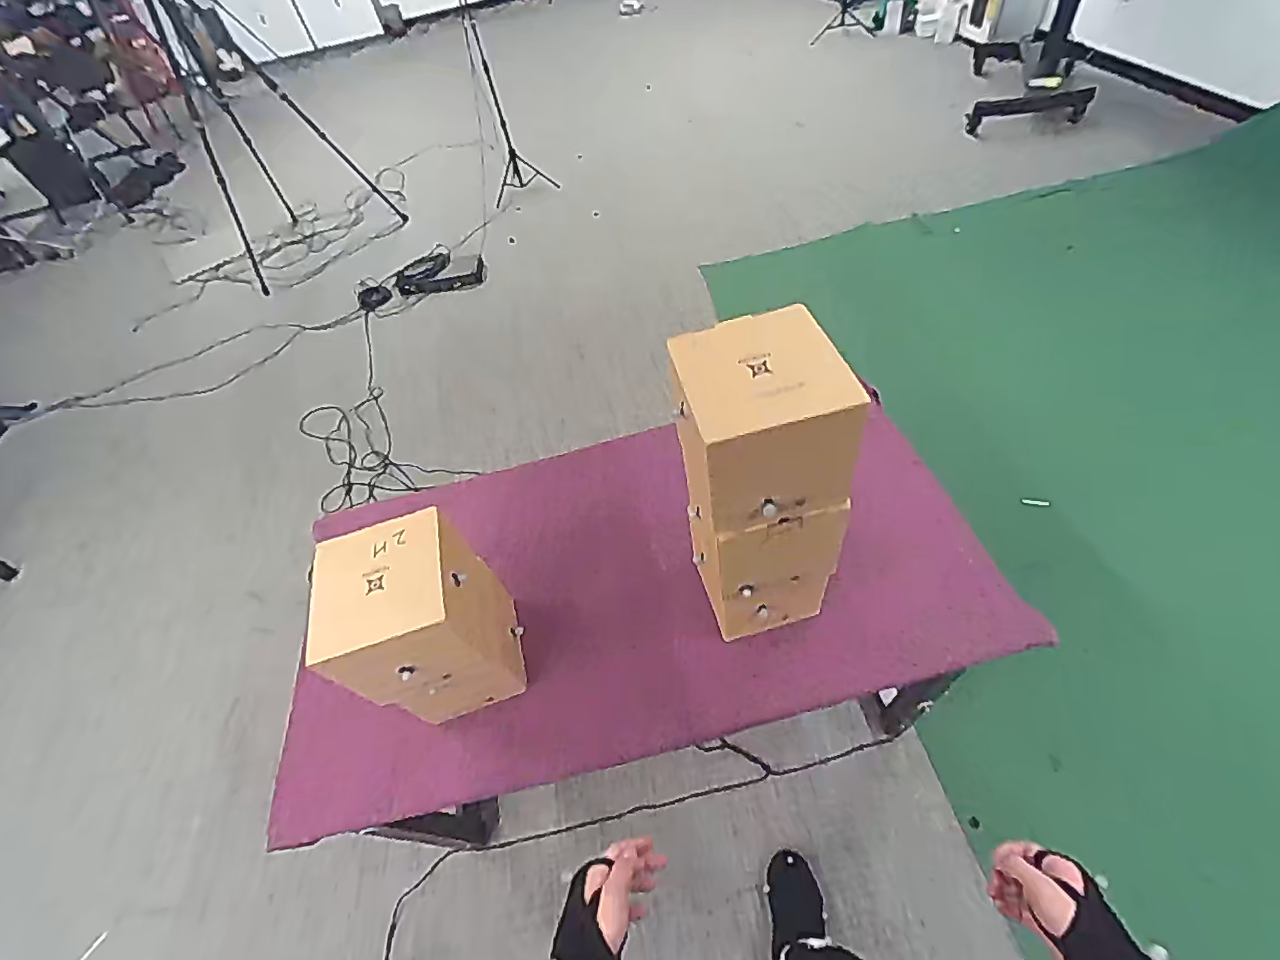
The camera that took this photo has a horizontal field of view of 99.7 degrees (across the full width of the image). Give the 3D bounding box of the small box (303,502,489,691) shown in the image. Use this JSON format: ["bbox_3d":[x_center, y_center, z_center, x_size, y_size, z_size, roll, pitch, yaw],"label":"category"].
[{"bbox_3d":[-0.311,0.163,0.722,0.168,0.176,0.179,-17,52,-4],"label":"small box"}]

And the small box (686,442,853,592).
[{"bbox_3d":[0.168,0.036,0.737,0.168,0.176,0.179,-14,49,0],"label":"small box"}]

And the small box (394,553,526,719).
[{"bbox_3d":[-0.294,0.251,0.862,0.168,0.176,0.179,-19,52,-4],"label":"small box"}]

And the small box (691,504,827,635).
[{"bbox_3d":[0.189,0.131,0.870,0.168,0.176,0.179,-16,50,-1],"label":"small box"}]

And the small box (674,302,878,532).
[{"bbox_3d":[0.139,-0.069,0.615,0.168,0.176,0.179,-13,51,1],"label":"small box"}]
